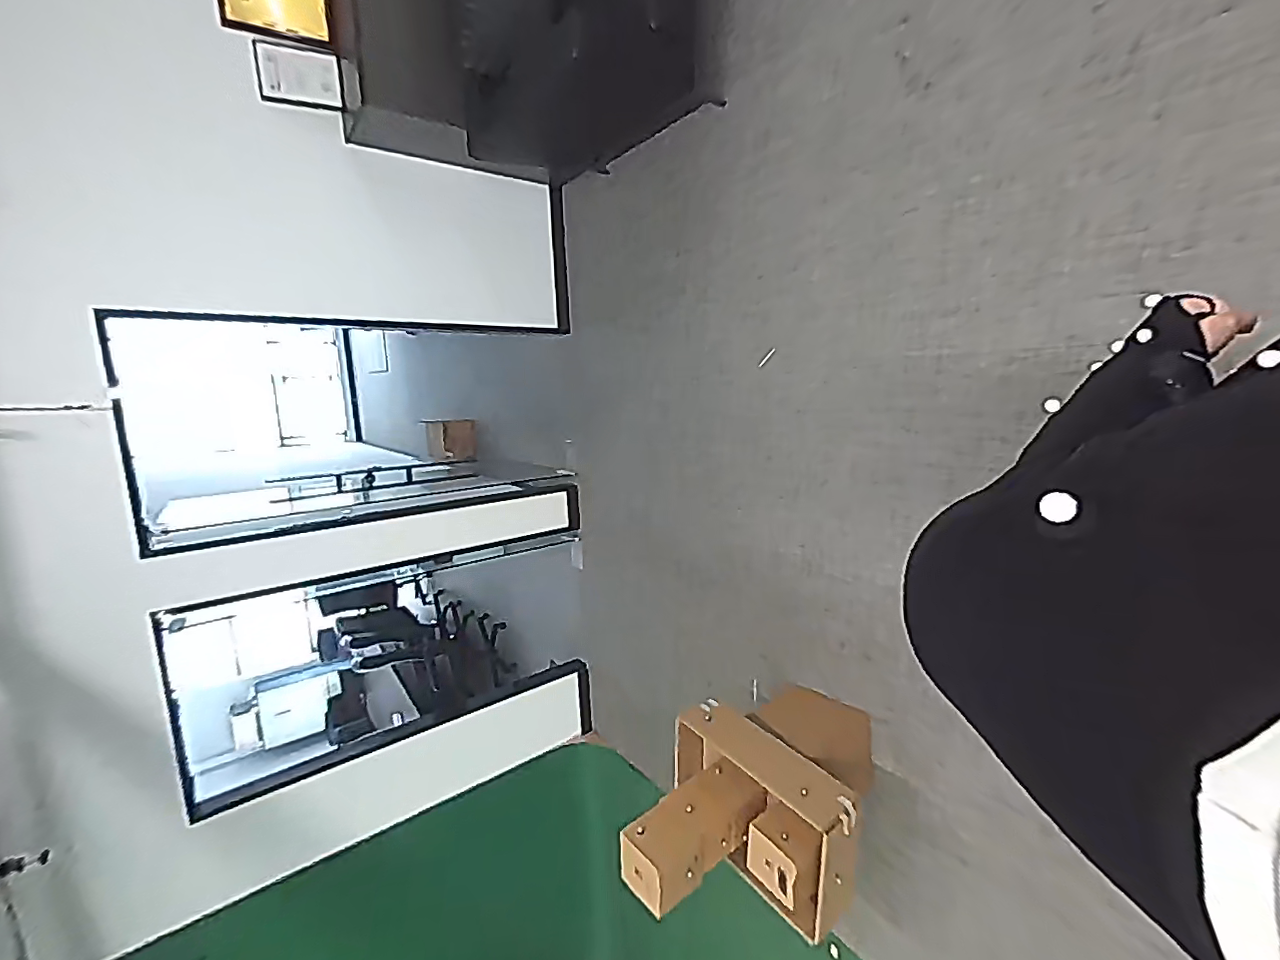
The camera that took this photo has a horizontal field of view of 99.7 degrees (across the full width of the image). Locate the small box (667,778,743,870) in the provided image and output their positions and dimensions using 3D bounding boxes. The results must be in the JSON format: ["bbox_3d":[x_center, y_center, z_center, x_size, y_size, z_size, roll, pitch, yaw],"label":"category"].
[{"bbox_3d":[0.202,1.085,1.714,0.179,0.176,0.168,14,108,49],"label":"small box"}]

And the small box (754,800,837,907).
[{"bbox_3d":[0.468,1.108,1.625,0.179,0.176,0.168,18,111,53],"label":"small box"}]

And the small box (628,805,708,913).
[{"bbox_3d":[0.082,1.108,1.603,0.179,0.176,0.168,12,107,50],"label":"small box"}]
